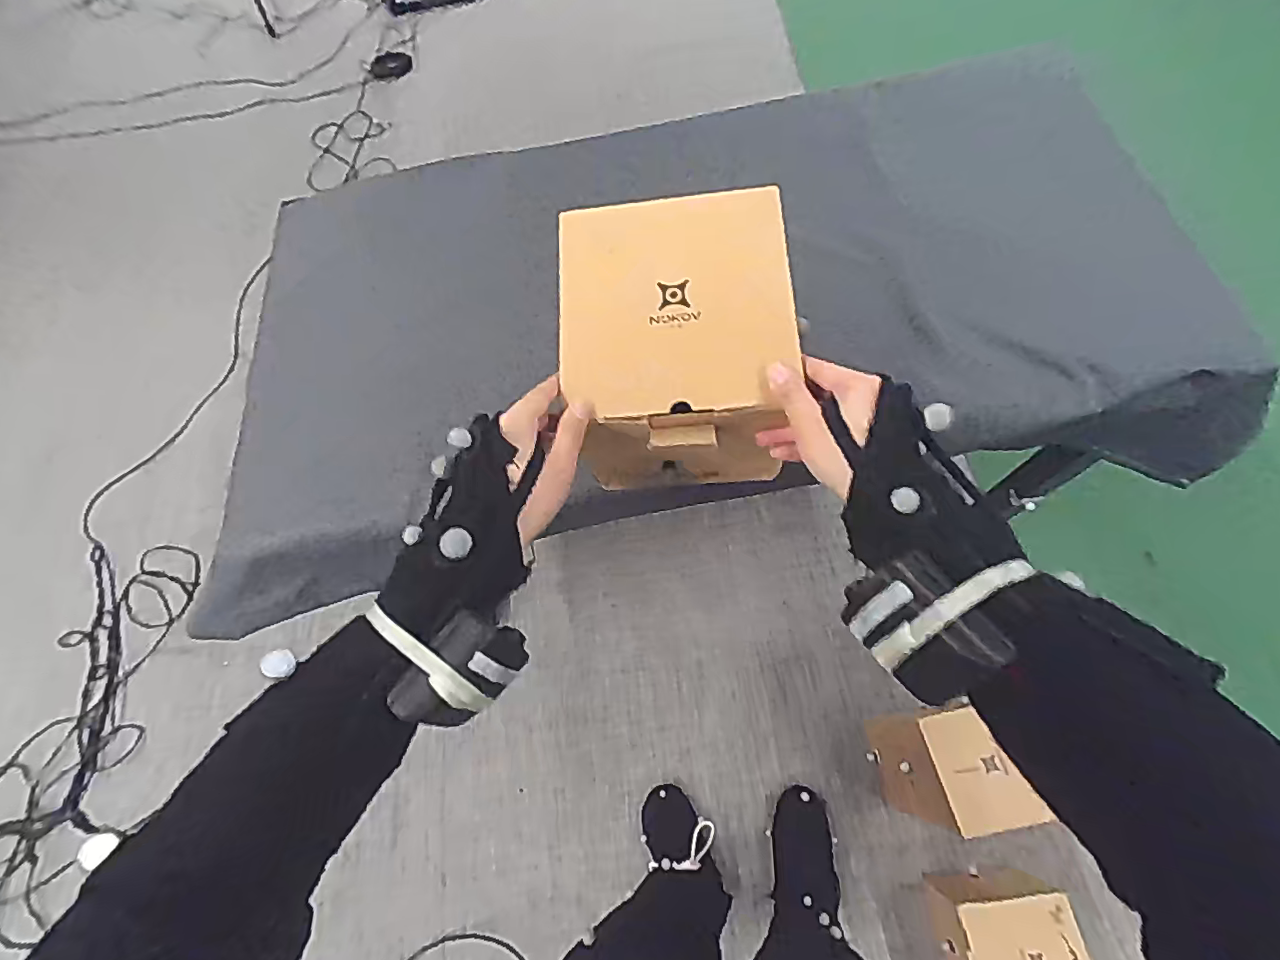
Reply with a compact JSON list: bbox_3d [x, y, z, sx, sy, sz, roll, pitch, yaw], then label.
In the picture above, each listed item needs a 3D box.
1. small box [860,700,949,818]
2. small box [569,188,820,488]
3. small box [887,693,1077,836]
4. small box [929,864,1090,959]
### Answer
[{"bbox_3d":[0.548,0.520,1.028,0.179,0.176,0.168,-14,65,1],"label":"small box"},{"bbox_3d":[0.039,-0.102,0.449,0.168,0.176,0.179,-4,75,5],"label":"small box"},{"bbox_3d":[0.537,0.451,0.879,0.179,0.176,0.168,-14,65,1],"label":"small box"},{"bbox_3d":[0.615,0.772,0.911,0.179,0.176,0.168,-10,67,4],"label":"small box"}]
